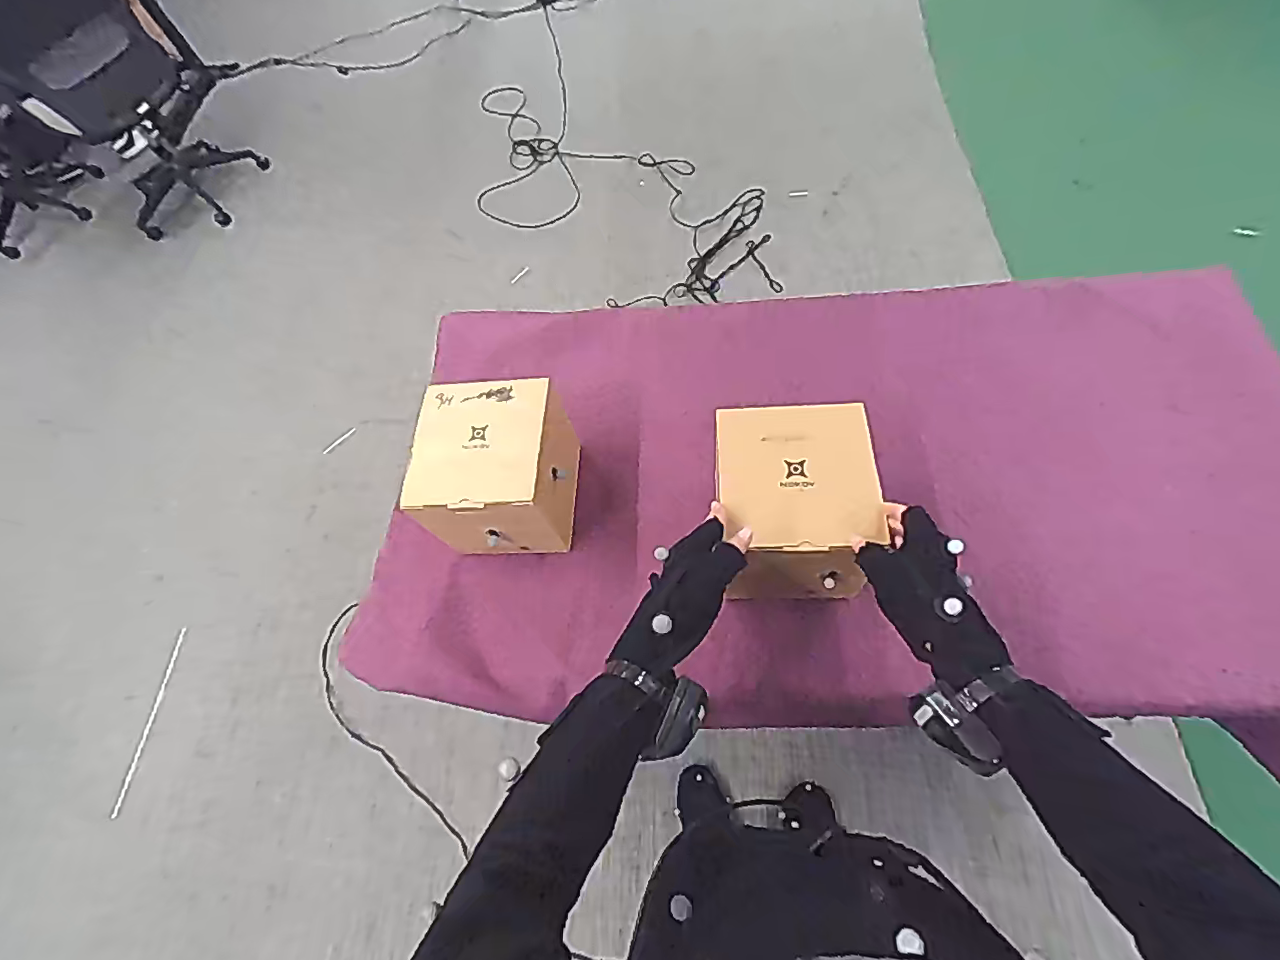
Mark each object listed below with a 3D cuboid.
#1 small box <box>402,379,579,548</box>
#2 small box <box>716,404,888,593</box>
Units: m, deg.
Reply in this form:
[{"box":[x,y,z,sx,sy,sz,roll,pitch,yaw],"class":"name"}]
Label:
[{"box":[-0.183,-0.012,0.723,0.168,0.176,0.179,-2,64,8],"class":"small box"},{"box":[0.176,0.030,0.642,0.168,0.176,0.179,-1,61,7],"class":"small box"}]
